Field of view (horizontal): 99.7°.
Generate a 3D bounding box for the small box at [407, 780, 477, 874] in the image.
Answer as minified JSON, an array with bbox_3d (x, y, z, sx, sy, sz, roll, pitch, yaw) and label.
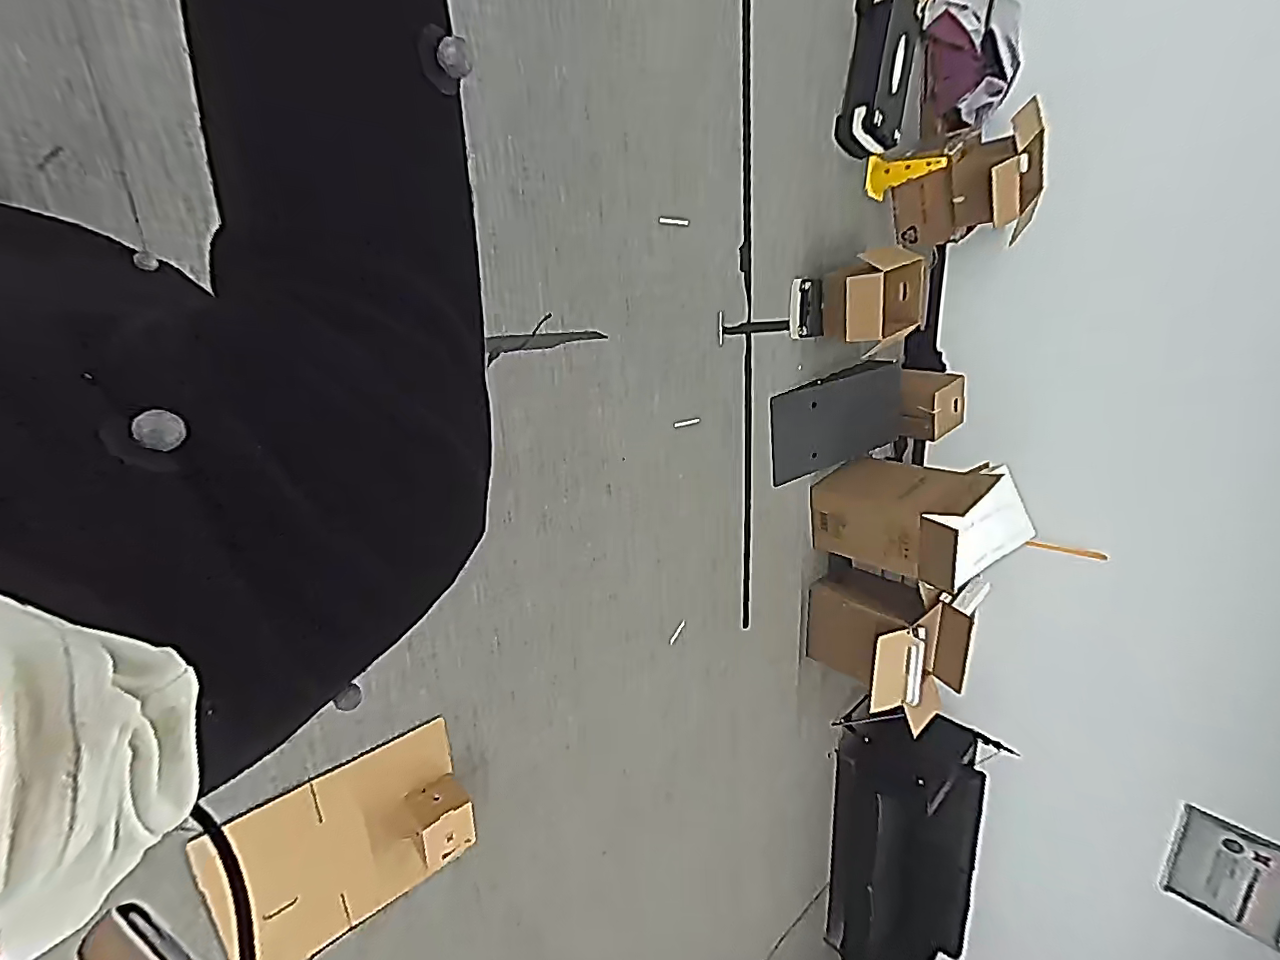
[{"bbox_3d":[-0.665,1.147,1.810,0.168,0.176,0.179,-14,109,-39],"label":"small box"}]
